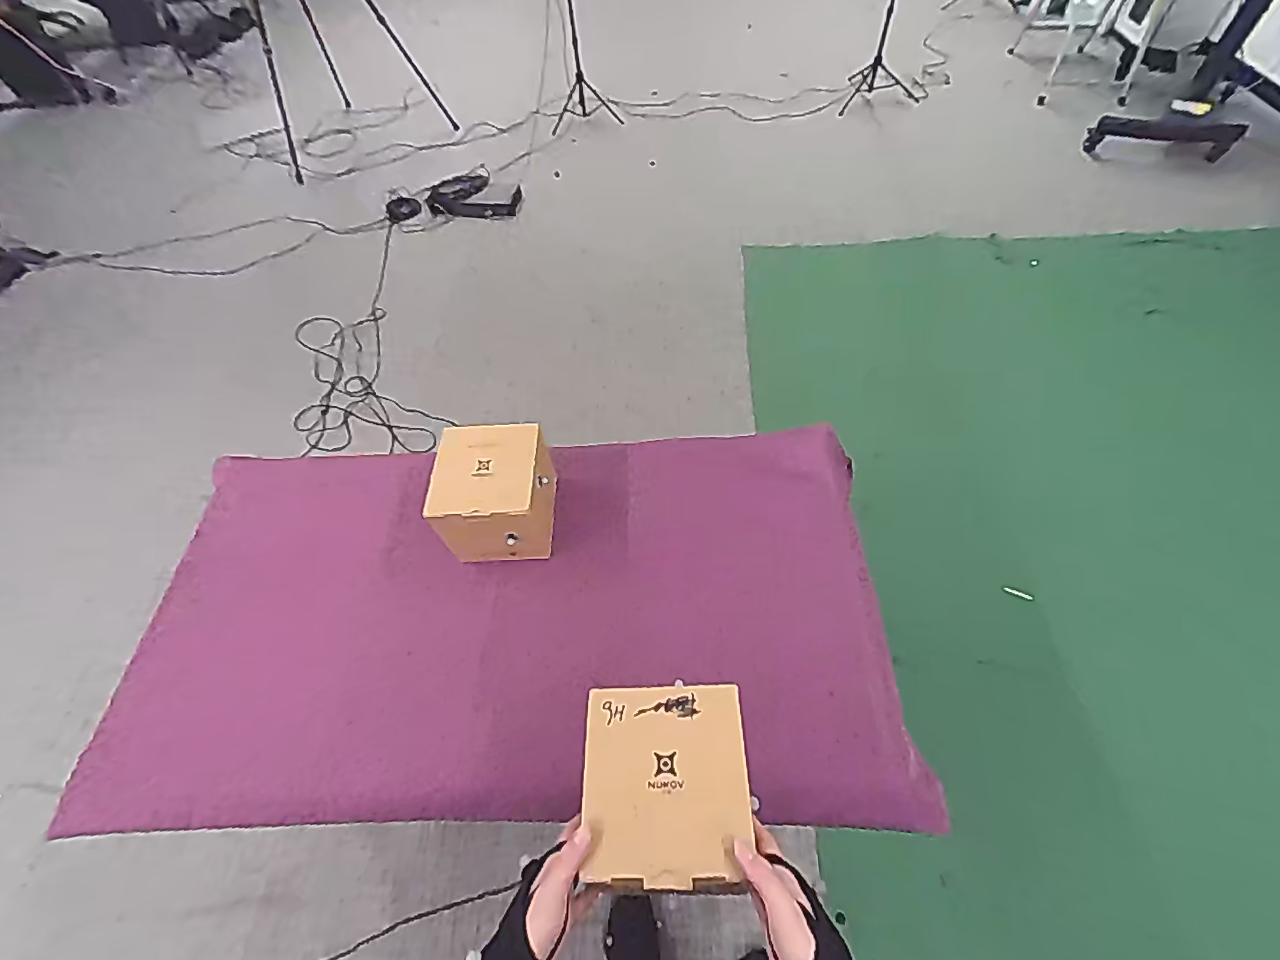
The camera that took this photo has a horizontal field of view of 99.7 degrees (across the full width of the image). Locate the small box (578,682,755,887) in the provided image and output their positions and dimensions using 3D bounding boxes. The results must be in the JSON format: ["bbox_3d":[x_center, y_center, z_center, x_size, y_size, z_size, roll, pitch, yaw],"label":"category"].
[{"bbox_3d":[0.034,0.342,0.601,0.168,0.176,0.179,-4,50,5],"label":"small box"}]

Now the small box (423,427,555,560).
[{"bbox_3d":[-0.247,0.030,0.933,0.168,0.176,0.179,-3,56,3],"label":"small box"}]
